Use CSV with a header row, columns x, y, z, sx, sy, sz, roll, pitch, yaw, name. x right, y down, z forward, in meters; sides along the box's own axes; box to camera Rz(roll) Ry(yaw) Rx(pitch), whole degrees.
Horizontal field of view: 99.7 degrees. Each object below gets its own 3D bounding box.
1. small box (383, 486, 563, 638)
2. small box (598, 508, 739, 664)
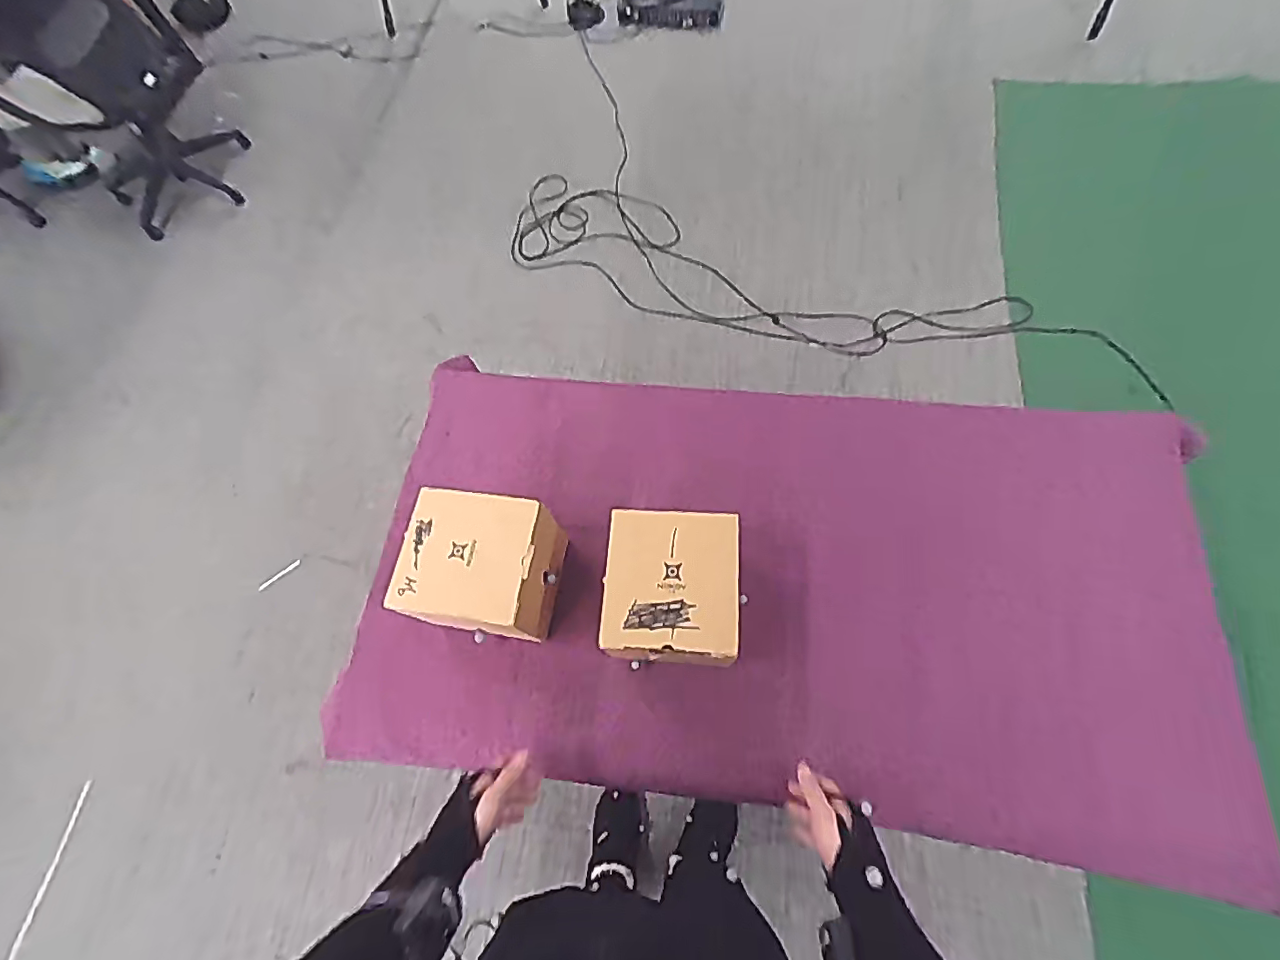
x,y,z,sx,sy,sz,roll,pitch,yaw,name
-0.219,0.123,0.766,0.179,0.176,0.168,7,68,7,small box
0.045,0.150,0.732,0.168,0.176,0.179,2,67,6,small box
